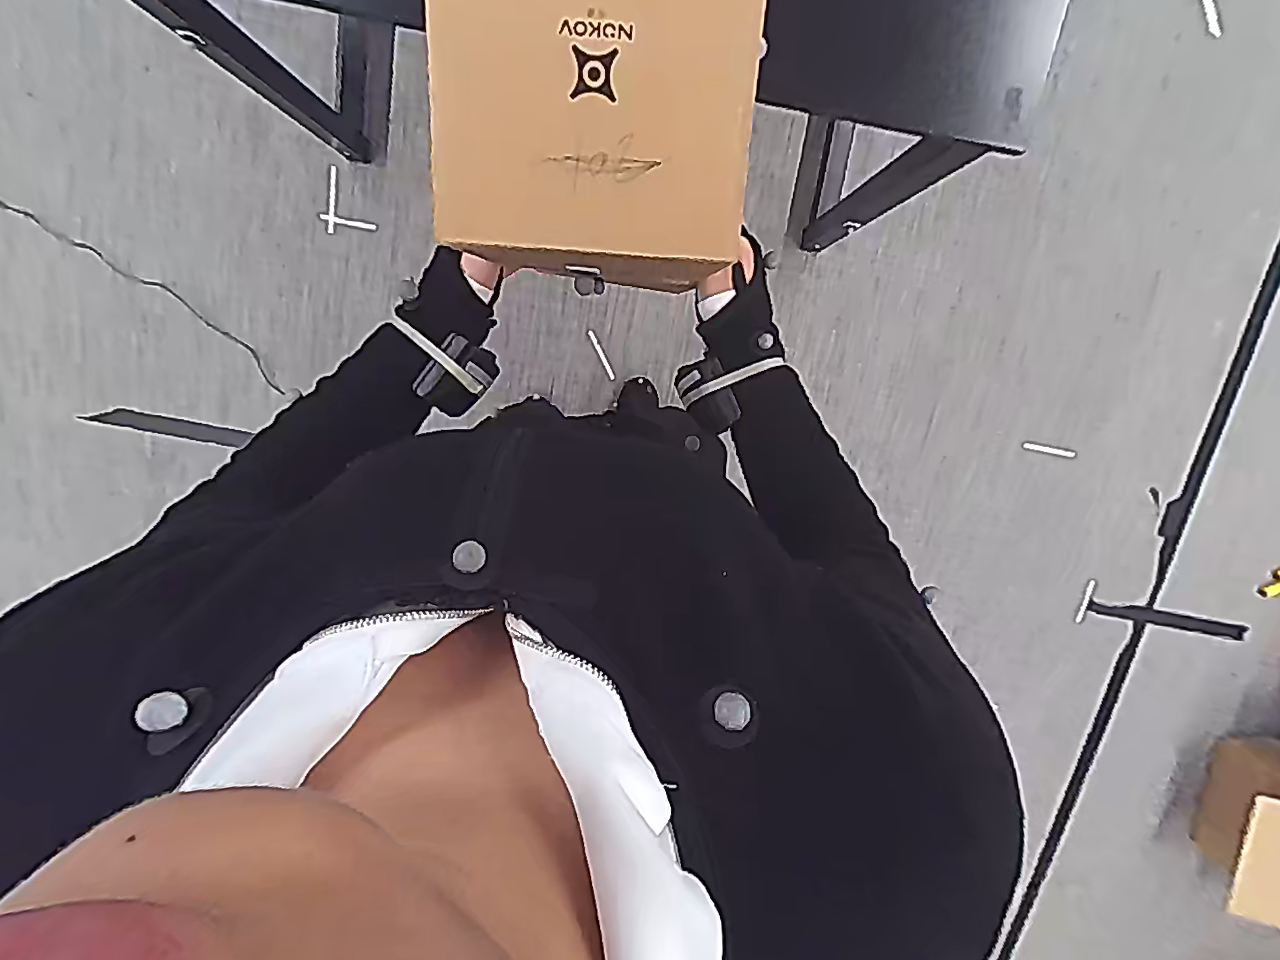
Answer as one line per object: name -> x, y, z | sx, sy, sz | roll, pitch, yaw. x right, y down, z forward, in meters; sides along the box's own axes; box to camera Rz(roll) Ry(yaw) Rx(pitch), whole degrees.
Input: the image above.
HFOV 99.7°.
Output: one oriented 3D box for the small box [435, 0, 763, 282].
small box -> -0.024, -0.232, 0.354 | 0.168, 0.176, 0.179 | 3, 108, -1
